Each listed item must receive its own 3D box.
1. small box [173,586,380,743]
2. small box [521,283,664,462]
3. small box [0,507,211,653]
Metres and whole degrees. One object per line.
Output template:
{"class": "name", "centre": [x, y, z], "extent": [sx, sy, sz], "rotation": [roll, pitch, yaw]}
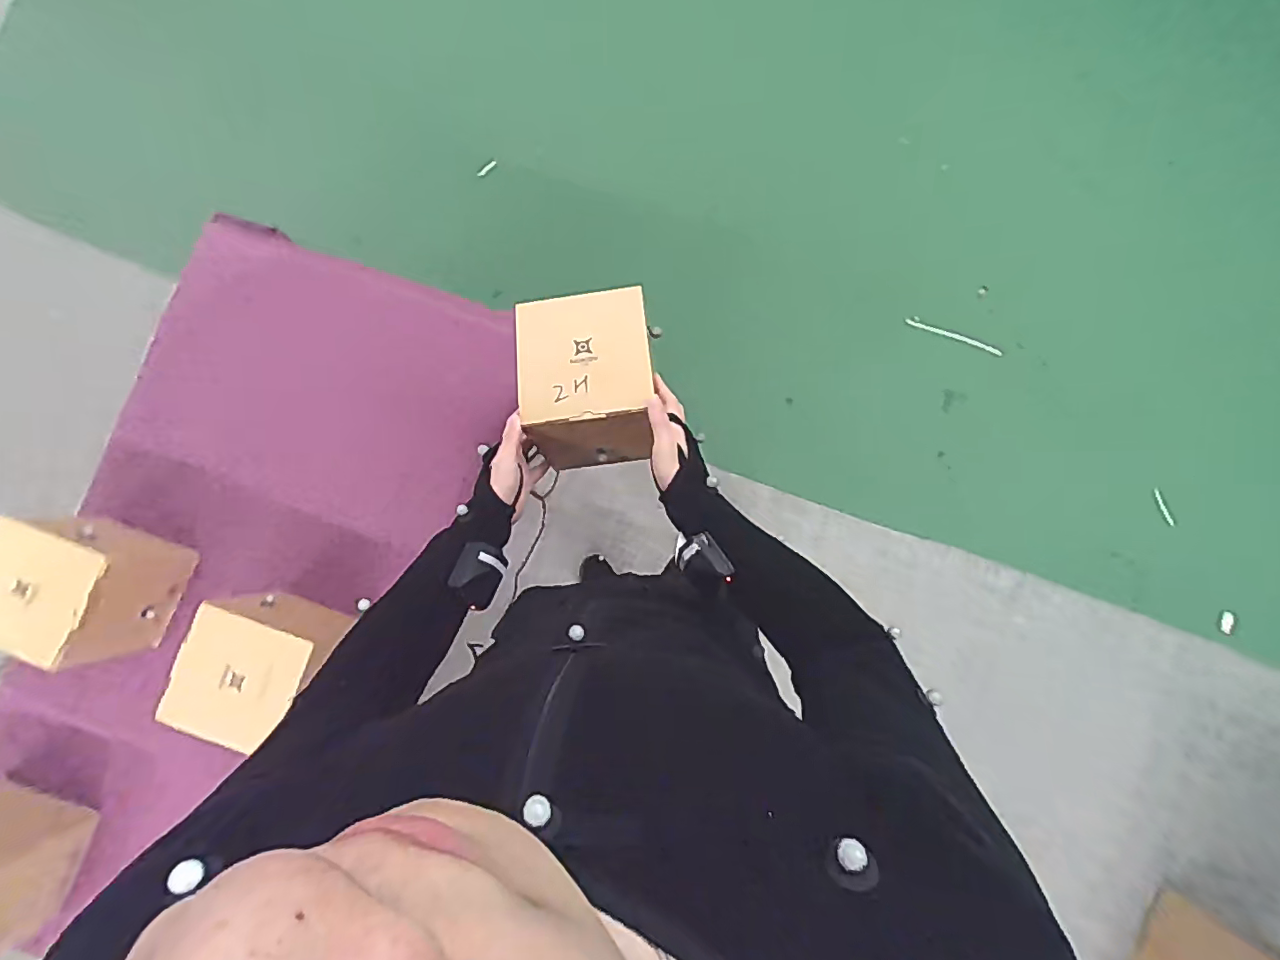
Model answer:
{"class": "small box", "centre": [-0.551, 0.272, 0.844], "extent": [0.179, 0.176, 0.168], "rotation": [19, 86, 4]}
{"class": "small box", "centre": [-0.059, -0.140, 0.749], "extent": [0.168, 0.176, 0.179], "rotation": [-6, 72, 6]}
{"class": "small box", "centre": [-0.854, 0.153, 0.862], "extent": [0.179, 0.176, 0.168], "rotation": [21, 84, 1]}
